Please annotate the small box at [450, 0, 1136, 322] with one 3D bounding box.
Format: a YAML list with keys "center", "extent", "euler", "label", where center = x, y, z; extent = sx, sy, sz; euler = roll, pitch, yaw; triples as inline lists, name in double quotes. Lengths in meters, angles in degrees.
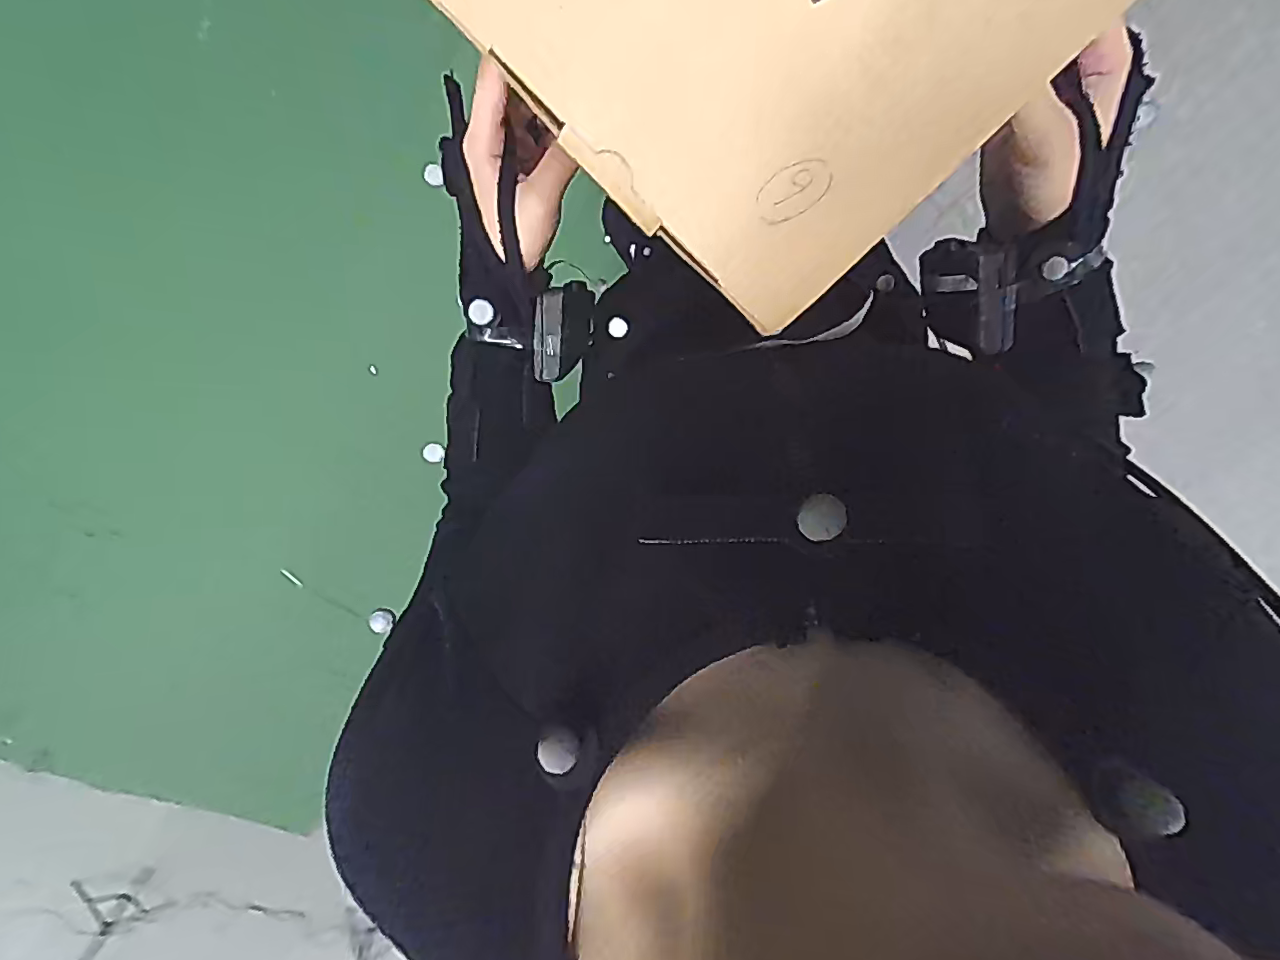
- center: [0.058, -0.201, 0.215]
  extent: [0.168, 0.176, 0.179]
  euler: [41, 119, -17]
  label: "small box"
